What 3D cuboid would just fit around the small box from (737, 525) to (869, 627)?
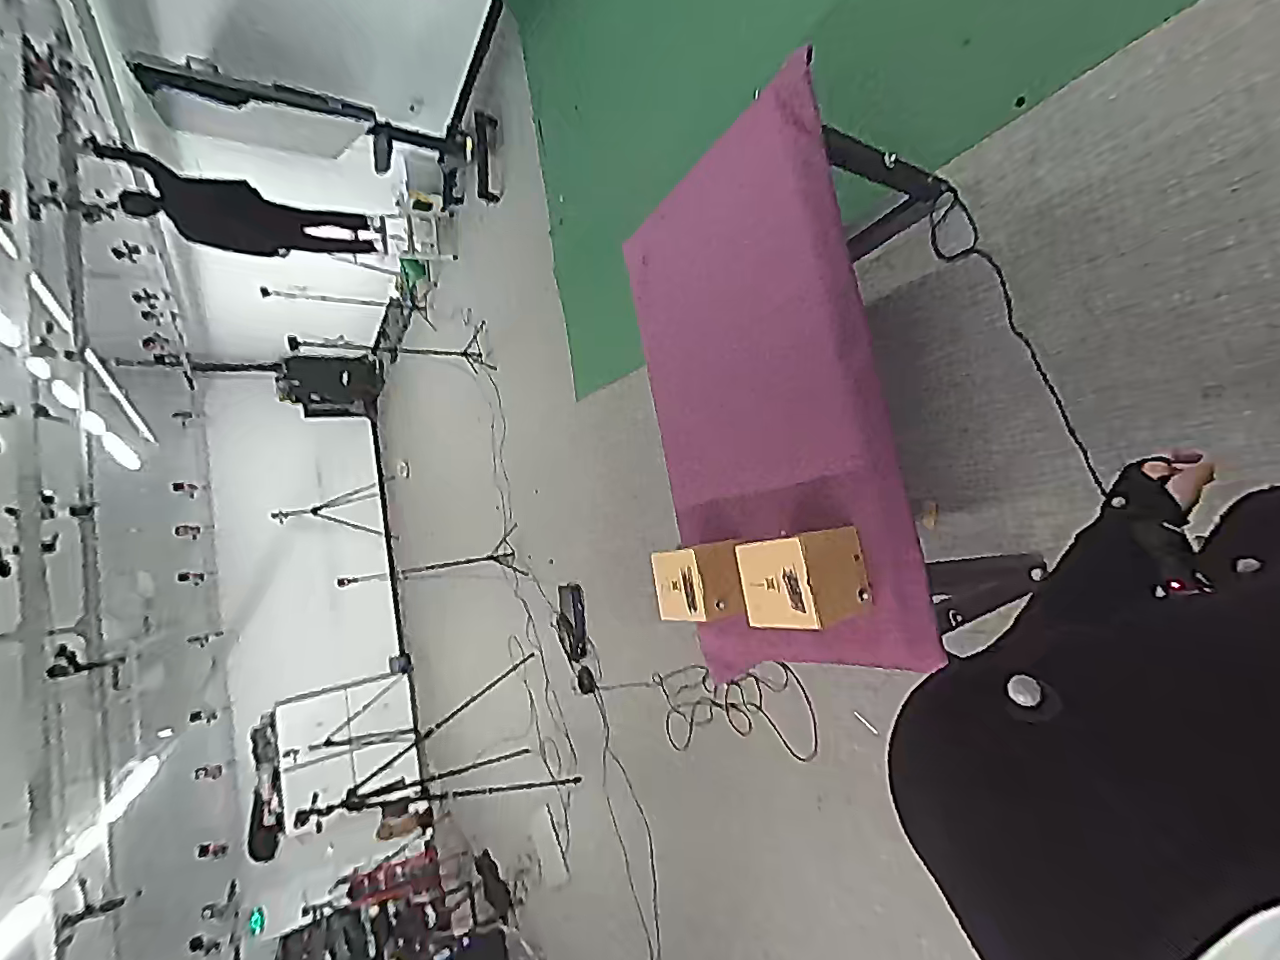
[{"bbox_3d":[0.325,0.187,1.065,0.179,0.176,0.168,-21,77,55],"label":"small box"}]
